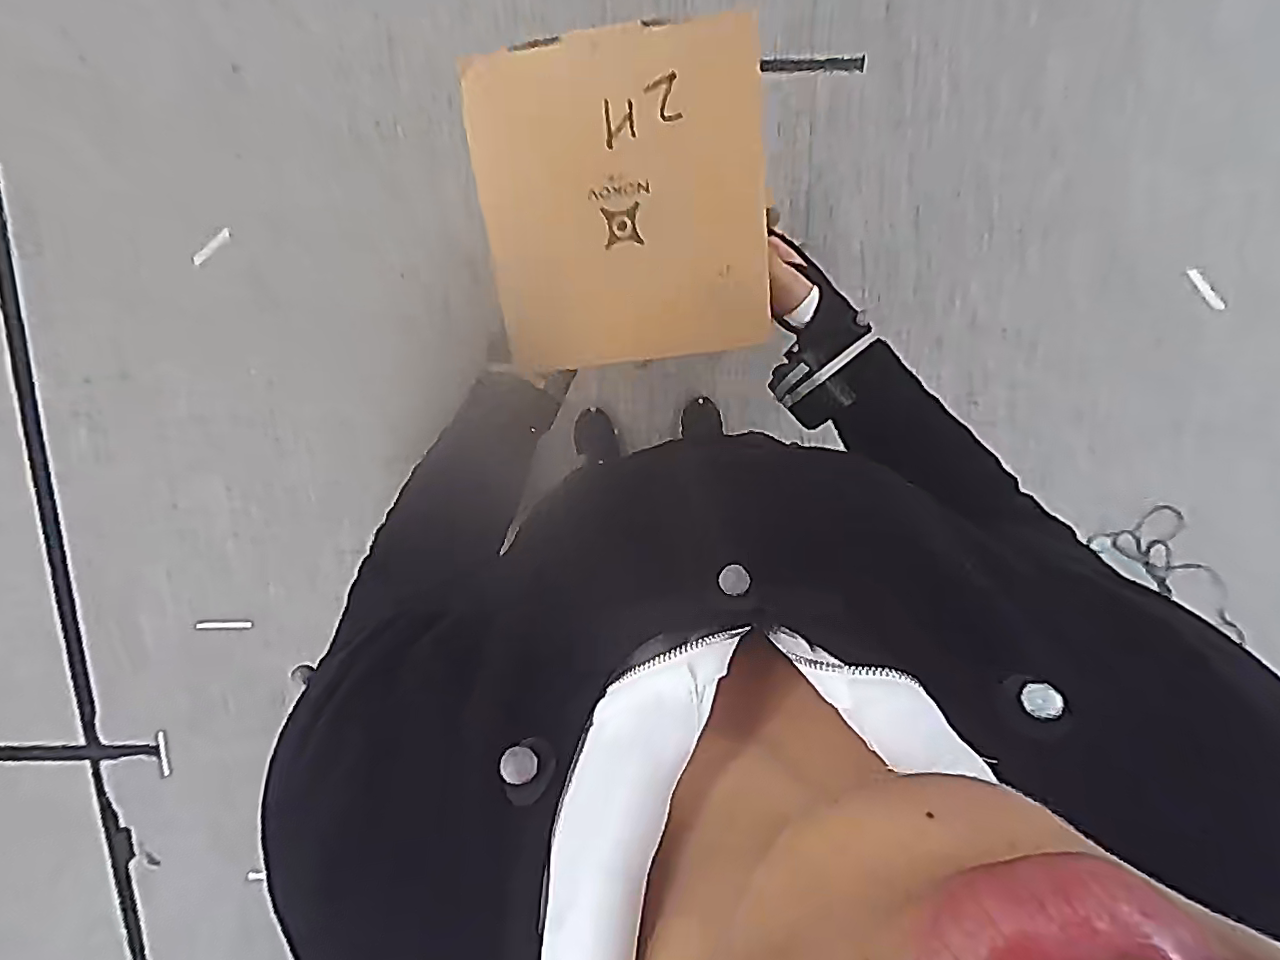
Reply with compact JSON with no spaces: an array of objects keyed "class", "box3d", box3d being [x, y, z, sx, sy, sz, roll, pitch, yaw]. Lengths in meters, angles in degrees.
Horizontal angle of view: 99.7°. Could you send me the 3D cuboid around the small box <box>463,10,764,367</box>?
[{"class":"small box","box3d":[-0.005,-0.190,0.398,0.168,0.176,0.179,-6,109,5]}]
